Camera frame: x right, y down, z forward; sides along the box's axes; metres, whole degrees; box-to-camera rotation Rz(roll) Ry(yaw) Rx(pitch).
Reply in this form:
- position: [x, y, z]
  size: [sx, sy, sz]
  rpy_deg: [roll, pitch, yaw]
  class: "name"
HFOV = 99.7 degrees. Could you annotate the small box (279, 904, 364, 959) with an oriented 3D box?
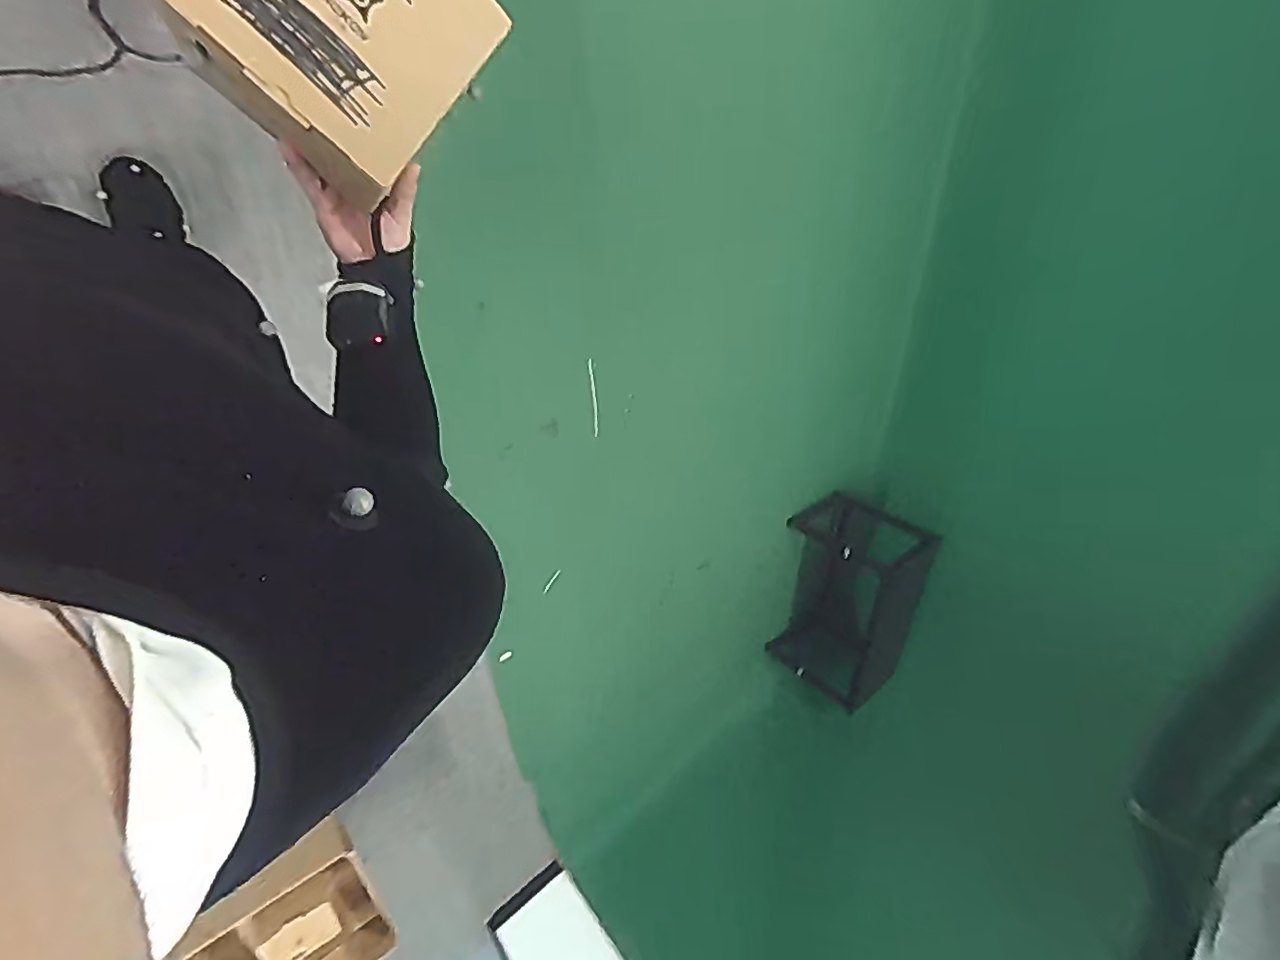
- position: [-0.926, 1.405, 1.585]
  size: [0.168, 0.176, 0.179]
  rpy_deg: [-25, 126, -33]
  class: "small box"
